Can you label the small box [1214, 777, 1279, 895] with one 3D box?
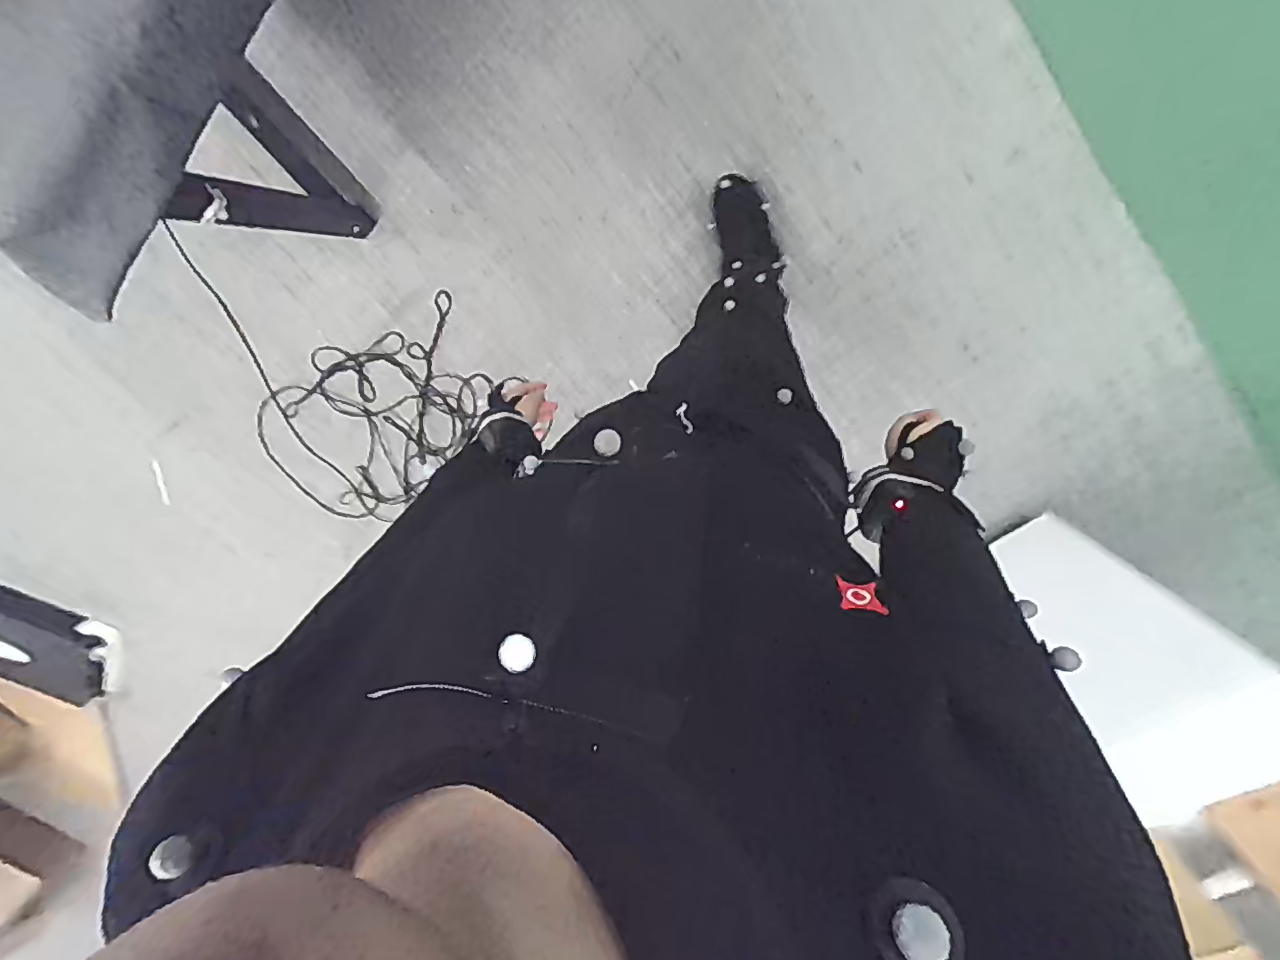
[{"bbox_3d":[0.992,0.547,0.759,0.168,0.176,0.179,-37,102,18],"label":"small box"}]
